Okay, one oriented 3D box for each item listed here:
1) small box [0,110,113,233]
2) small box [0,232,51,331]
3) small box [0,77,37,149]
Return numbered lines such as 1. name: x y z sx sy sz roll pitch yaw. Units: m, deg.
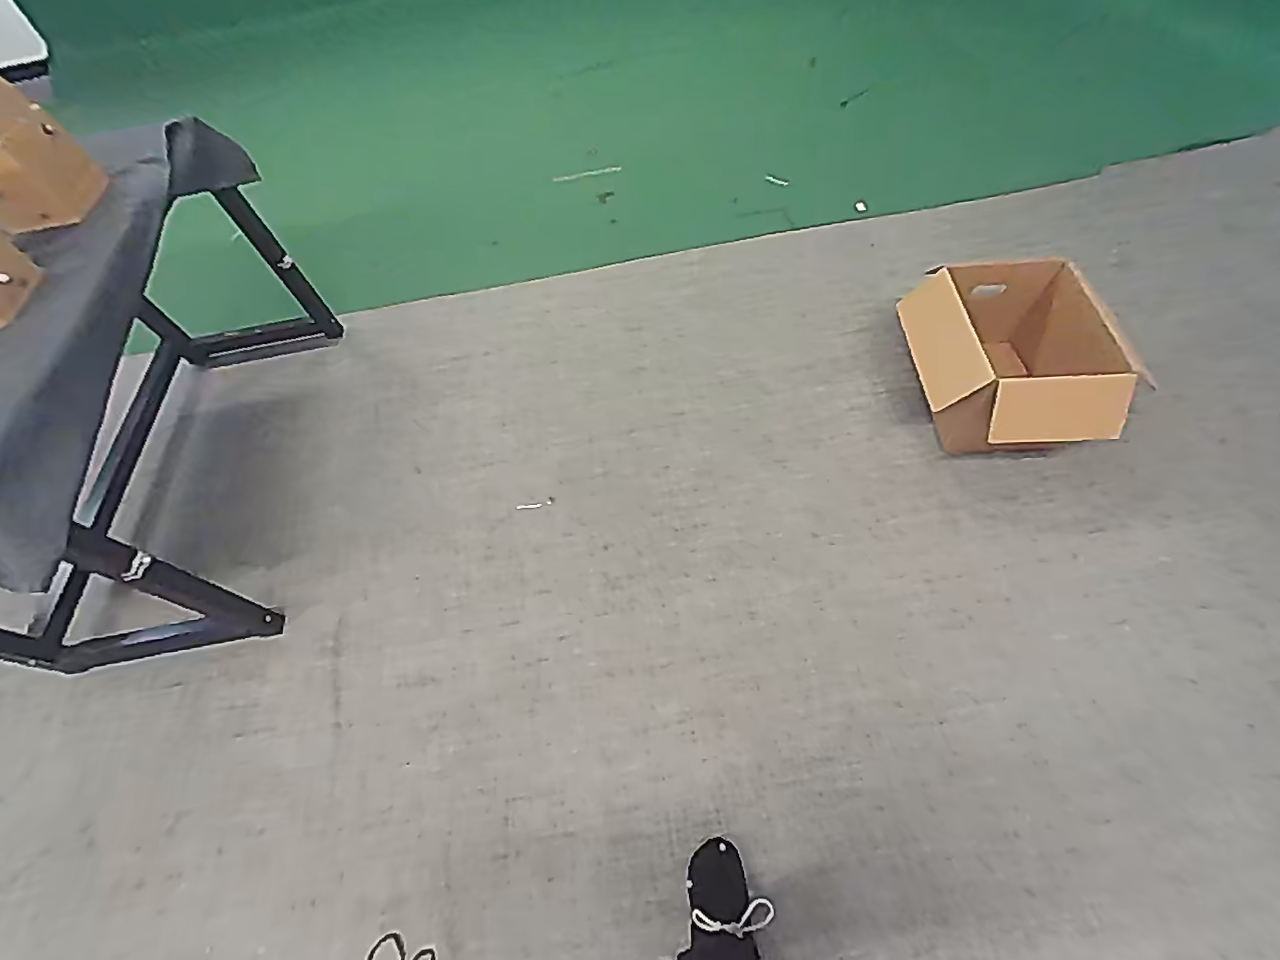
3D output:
1. small box: -1.330 -0.666 1.185 0.168 0.176 0.179 -9 58 2
2. small box: -1.291 -0.383 1.006 0.179 0.176 0.168 -10 59 0
3. small box: -1.362 -0.747 1.041 0.168 0.176 0.179 -6 58 4
